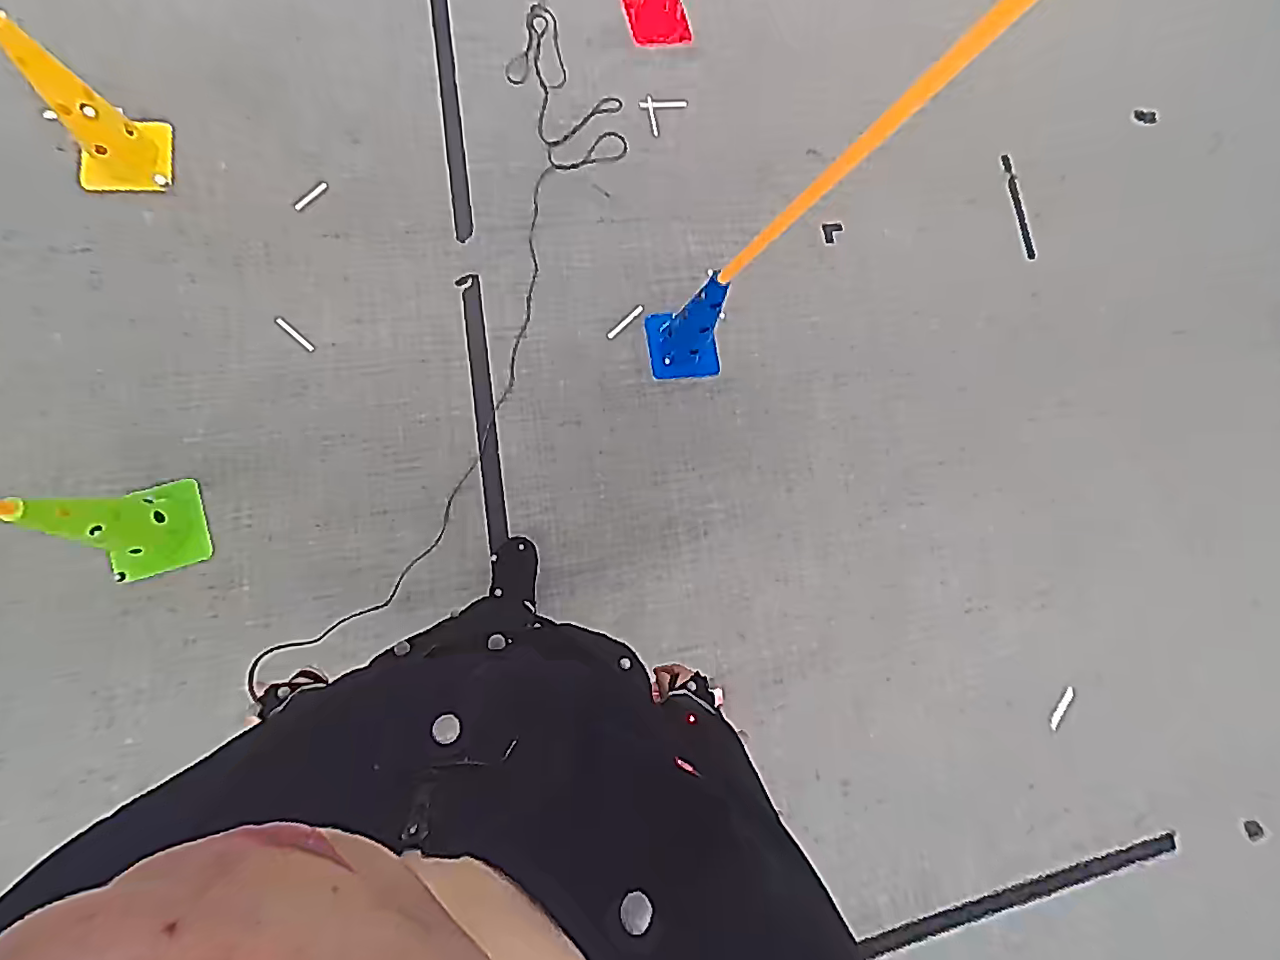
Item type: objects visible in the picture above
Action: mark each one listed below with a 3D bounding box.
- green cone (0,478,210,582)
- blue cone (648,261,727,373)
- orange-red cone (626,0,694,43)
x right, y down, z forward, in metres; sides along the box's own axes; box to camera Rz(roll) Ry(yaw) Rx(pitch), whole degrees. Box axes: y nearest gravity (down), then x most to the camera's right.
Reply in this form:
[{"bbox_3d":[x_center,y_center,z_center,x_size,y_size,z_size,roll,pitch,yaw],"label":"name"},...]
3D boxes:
[{"bbox_3d":[-1.077,0.075,1.069,0.200,0.368,0.202,-18,81,-13],"label":"green cone"},{"bbox_3d":[0.150,-0.429,1.388,0.193,0.380,0.192,-5,80,-11],"label":"blue cone"},{"bbox_3d":[0.089,-1.523,1.571,0.199,0.360,0.198,-13,81,-10],"label":"orange-red cone"}]
